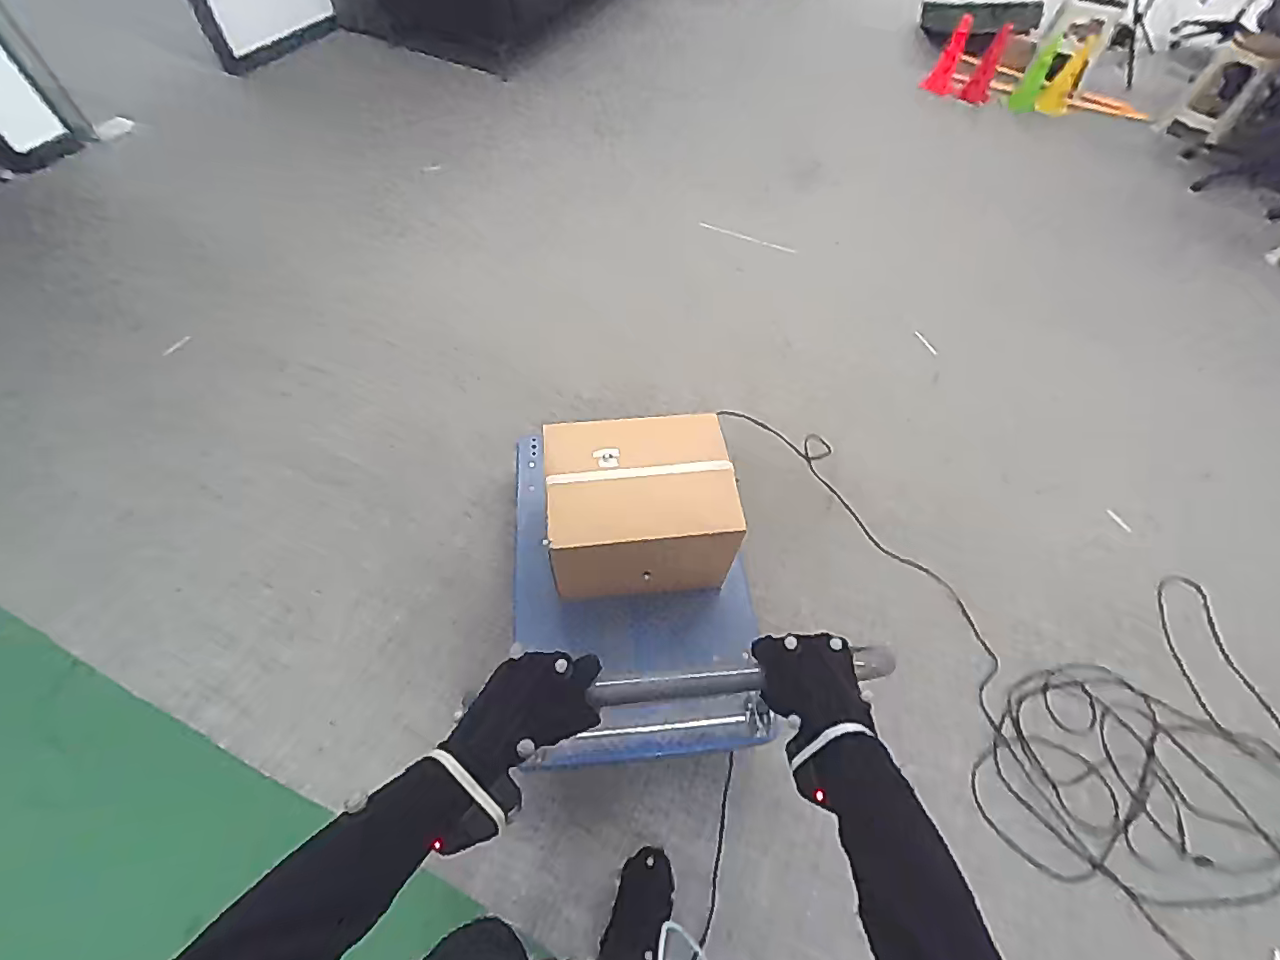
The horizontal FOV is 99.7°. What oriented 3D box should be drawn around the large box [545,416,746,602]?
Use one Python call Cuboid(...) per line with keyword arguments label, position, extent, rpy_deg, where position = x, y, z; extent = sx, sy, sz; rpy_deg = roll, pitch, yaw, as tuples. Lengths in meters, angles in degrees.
Cuboid(label="large box", position=(-0.002, 0.076, 1.293), extent=(0.408, 0.320, 0.320), rpy_deg=(-6, 57, -6))
